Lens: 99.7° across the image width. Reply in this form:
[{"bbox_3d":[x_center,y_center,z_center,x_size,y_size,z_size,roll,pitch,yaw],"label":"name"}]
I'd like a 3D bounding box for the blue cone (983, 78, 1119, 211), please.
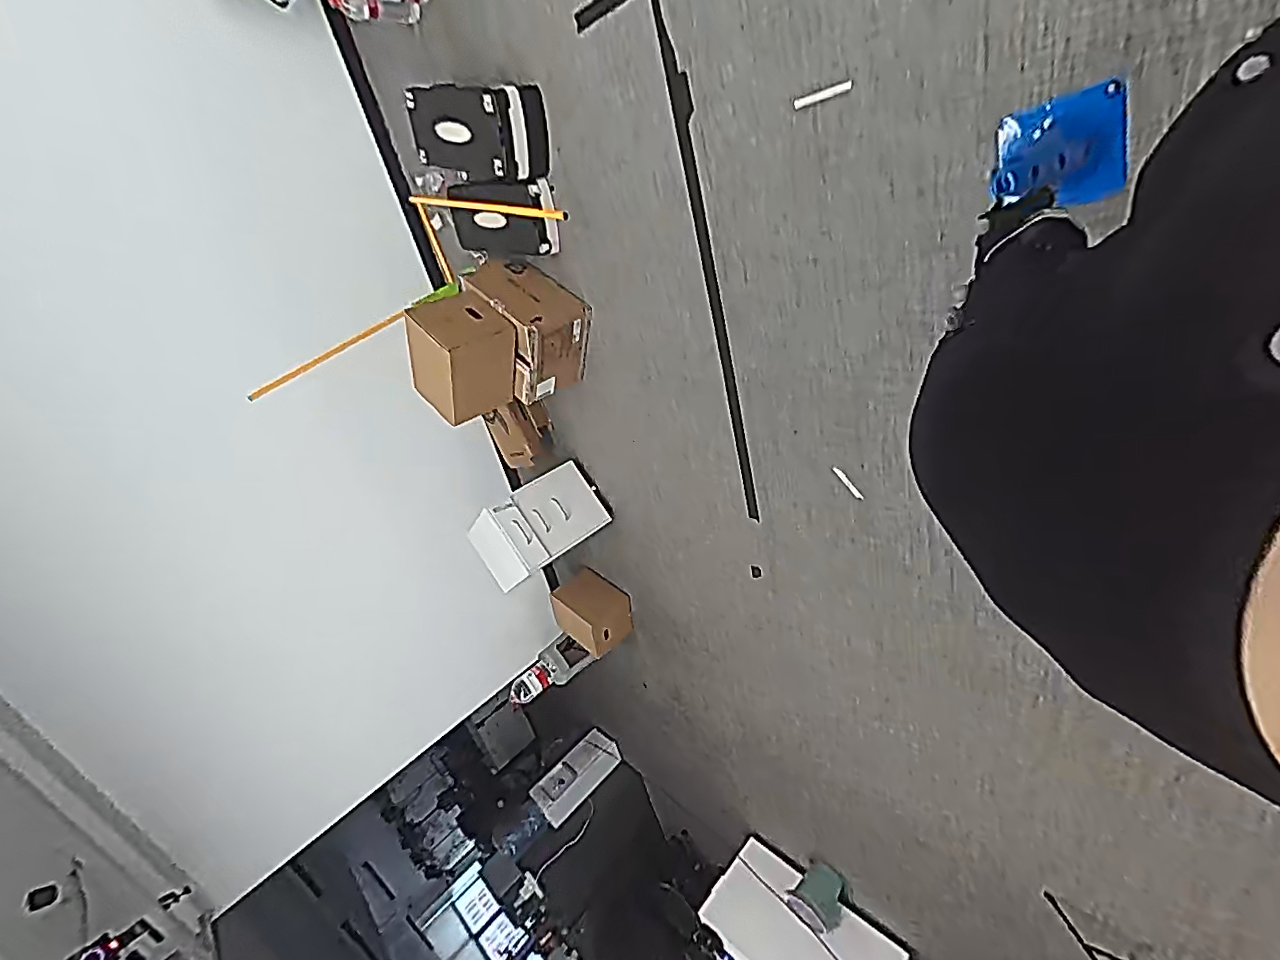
[{"bbox_3d":[0.701,-0.570,0.971,0.193,0.380,0.192,8,123,49],"label":"blue cone"}]
